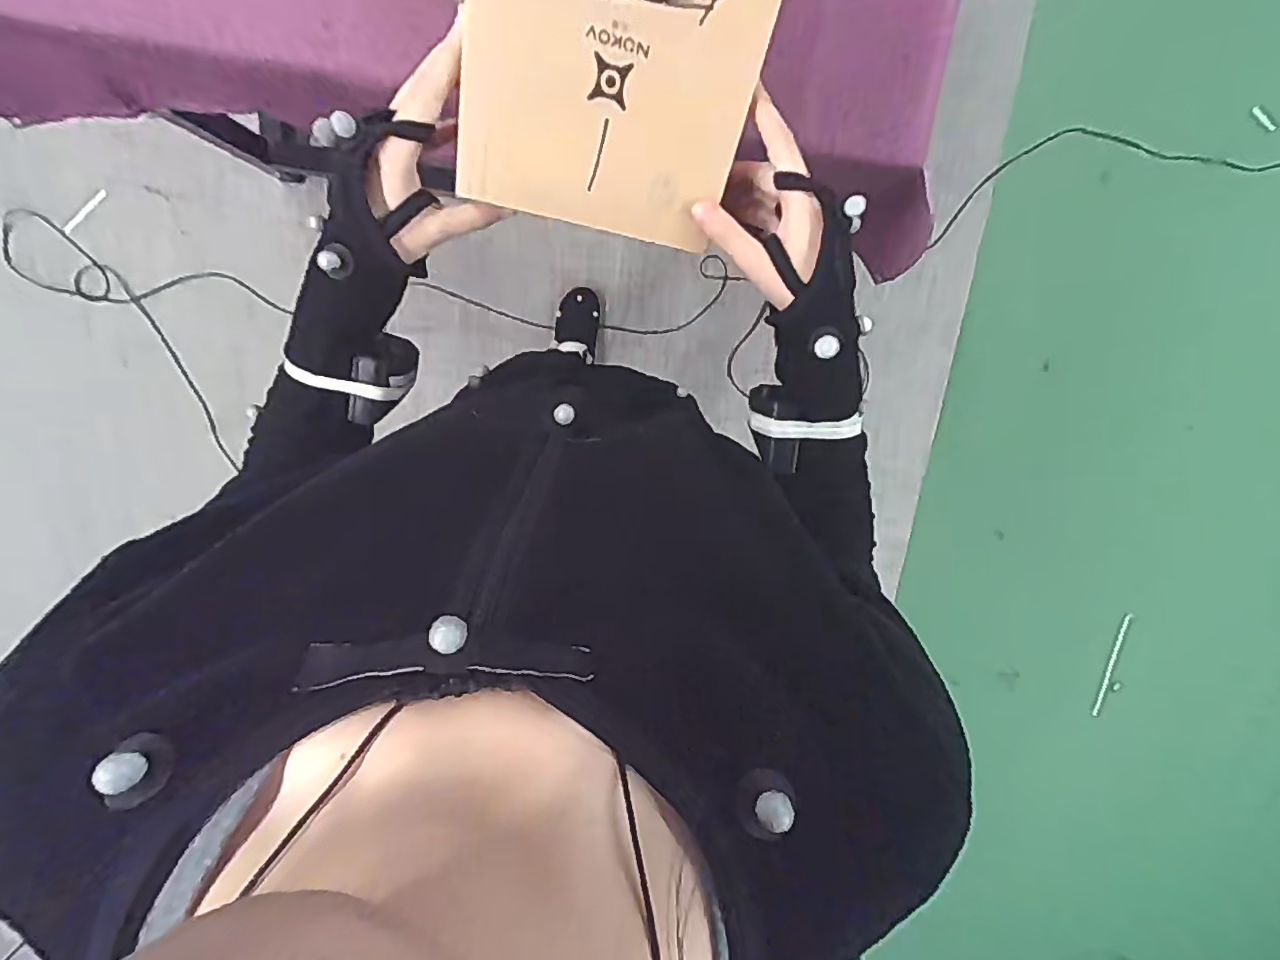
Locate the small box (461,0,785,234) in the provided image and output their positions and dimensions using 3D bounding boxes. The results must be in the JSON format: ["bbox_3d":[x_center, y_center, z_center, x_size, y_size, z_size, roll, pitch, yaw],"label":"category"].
[{"bbox_3d":[-0.020,-0.291,0.359,0.168,0.176,0.179,7,126,-15],"label":"small box"}]
